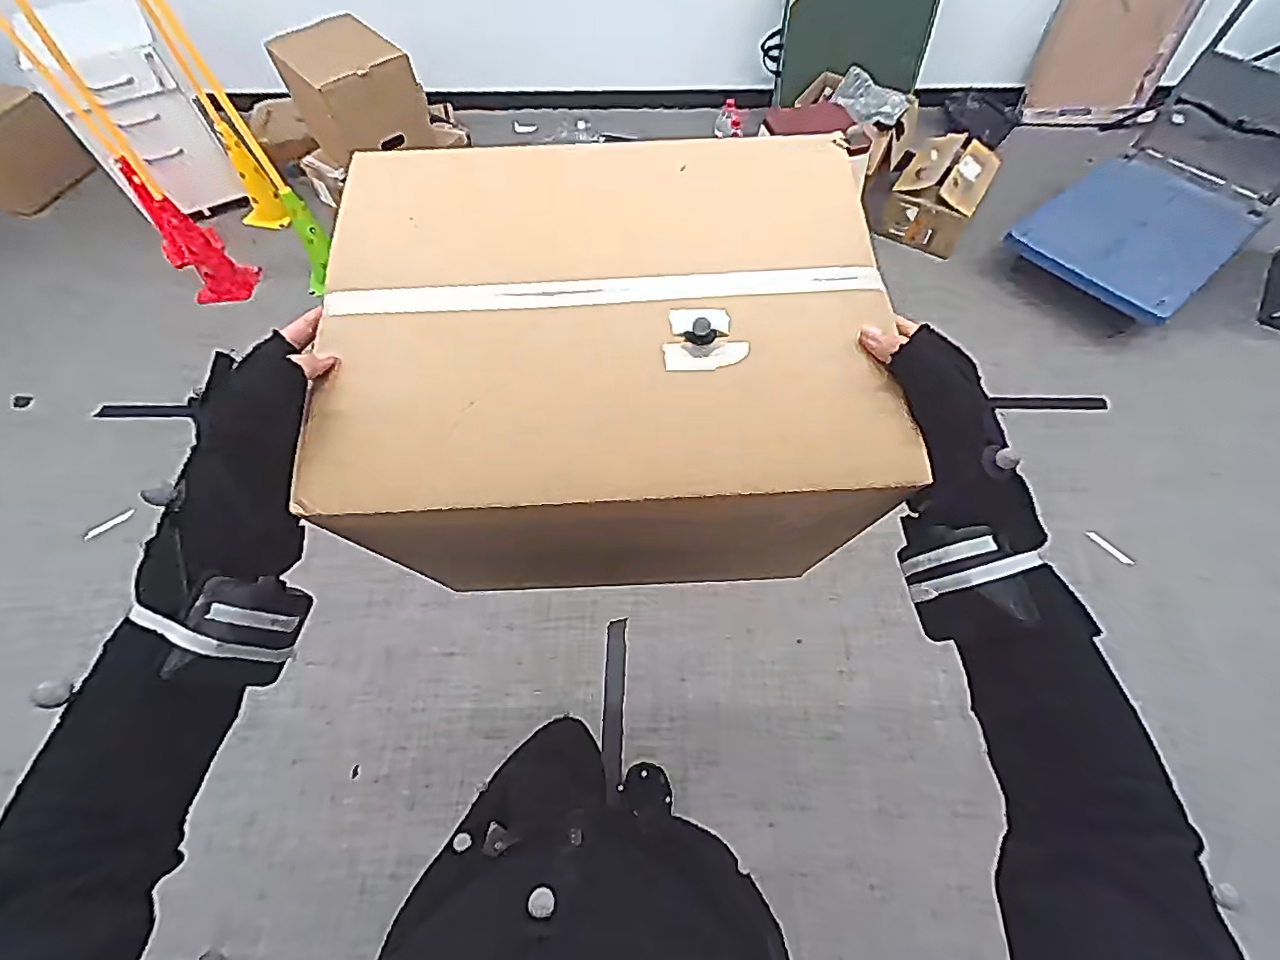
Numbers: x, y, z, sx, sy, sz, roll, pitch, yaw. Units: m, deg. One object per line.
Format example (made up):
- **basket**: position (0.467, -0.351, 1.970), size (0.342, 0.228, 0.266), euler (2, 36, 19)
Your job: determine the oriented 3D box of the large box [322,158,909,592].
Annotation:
- **large box**: position (-0.024, -0.076, 0.553), size (0.408, 0.320, 0.320), euler (-3, 69, -1)
